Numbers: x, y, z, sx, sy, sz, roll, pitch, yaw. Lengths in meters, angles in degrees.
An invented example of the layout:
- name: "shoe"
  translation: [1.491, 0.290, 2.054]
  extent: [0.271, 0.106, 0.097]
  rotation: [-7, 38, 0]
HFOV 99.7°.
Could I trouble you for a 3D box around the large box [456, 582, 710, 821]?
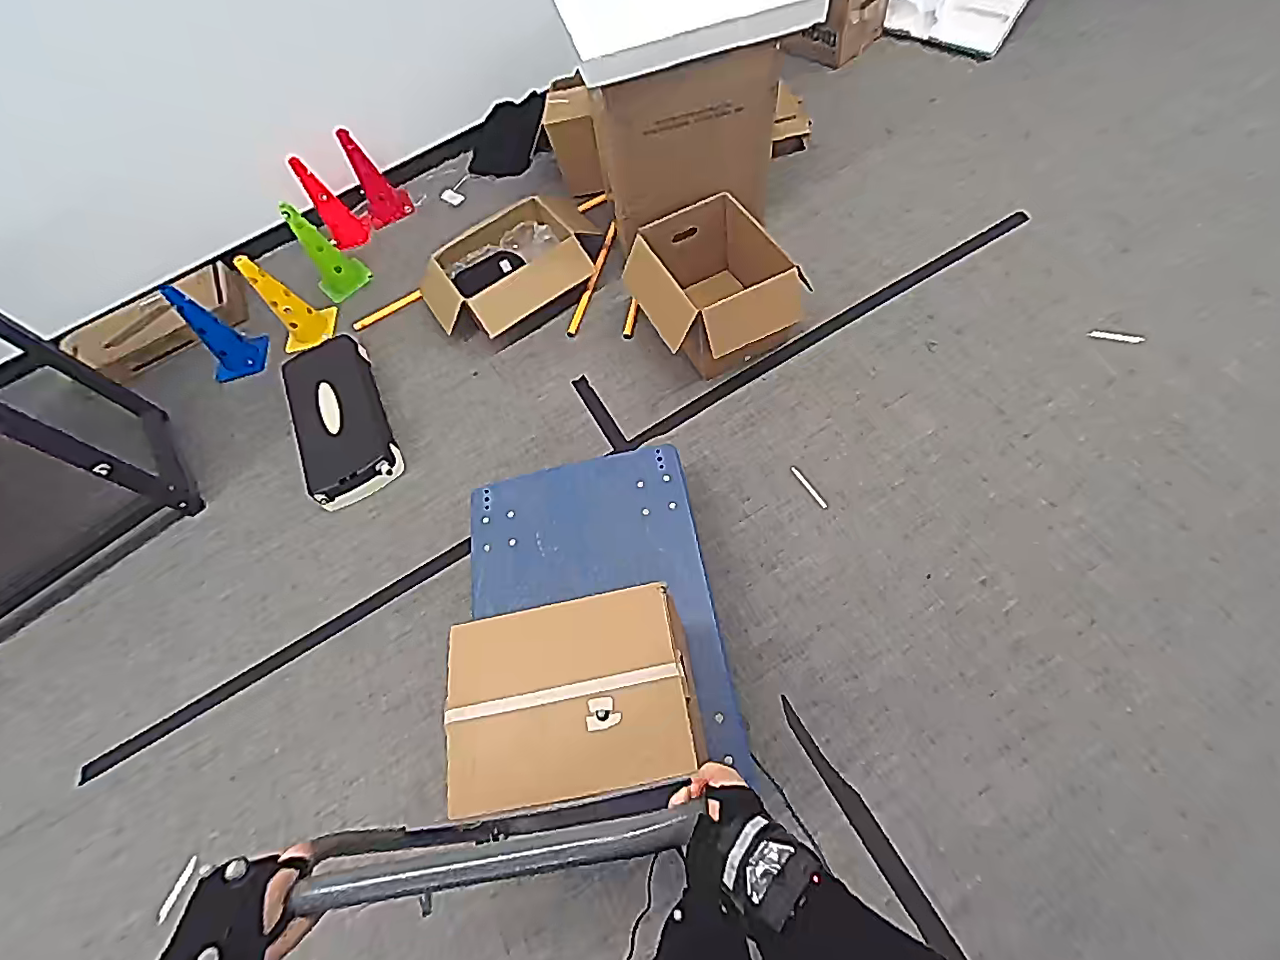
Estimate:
- name: "large box"
  translation: [-0.099, 0.433, 1.043]
  extent: [0.408, 0.320, 0.320]
  rotation: [-13, 61, 3]
